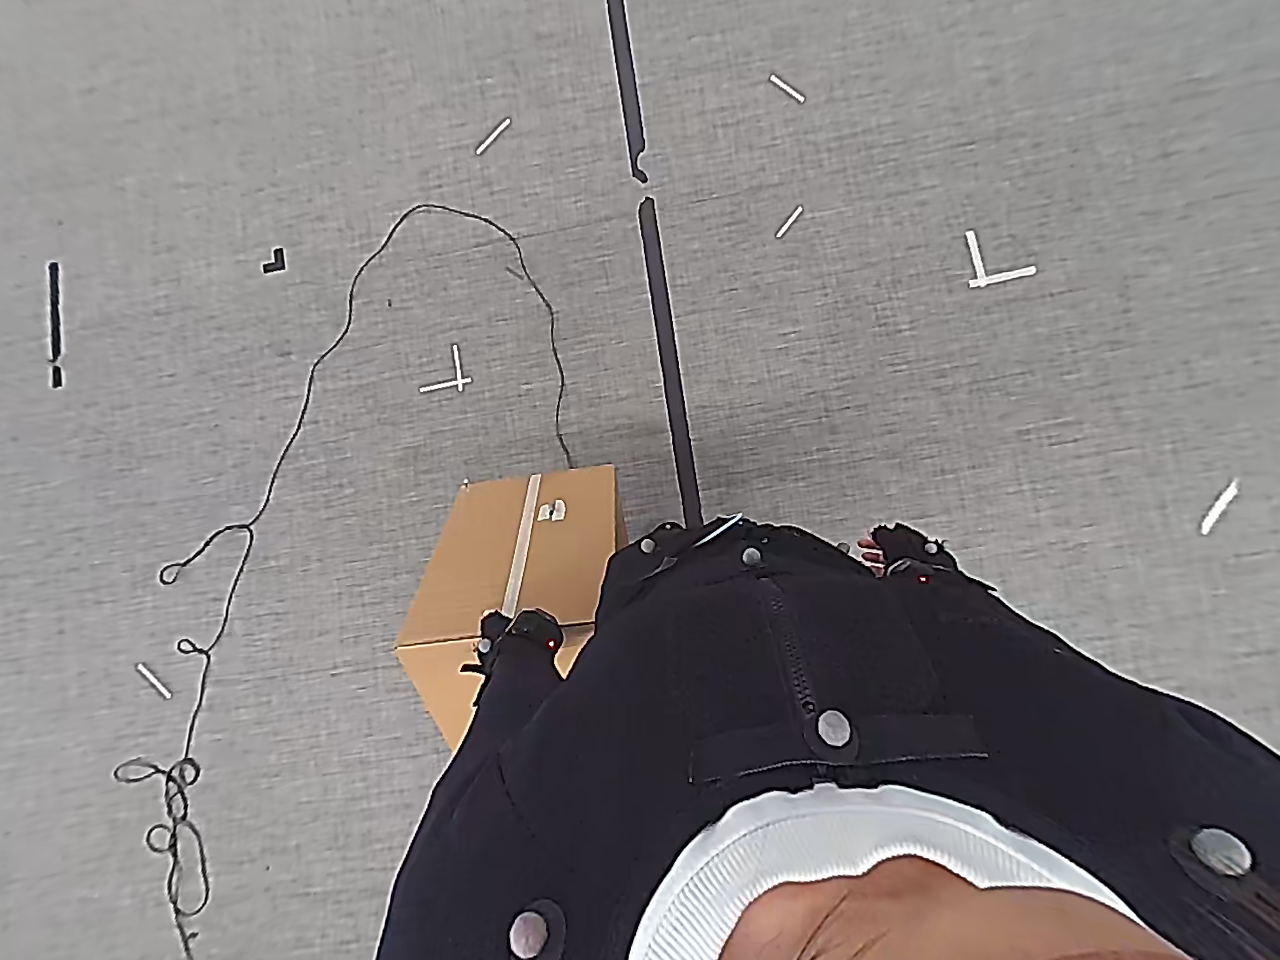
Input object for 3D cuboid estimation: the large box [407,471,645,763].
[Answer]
[{"bbox_3d":[-0.172,0.232,0.996,0.320,0.408,0.320,-7,123,1],"label":"large box"}]
